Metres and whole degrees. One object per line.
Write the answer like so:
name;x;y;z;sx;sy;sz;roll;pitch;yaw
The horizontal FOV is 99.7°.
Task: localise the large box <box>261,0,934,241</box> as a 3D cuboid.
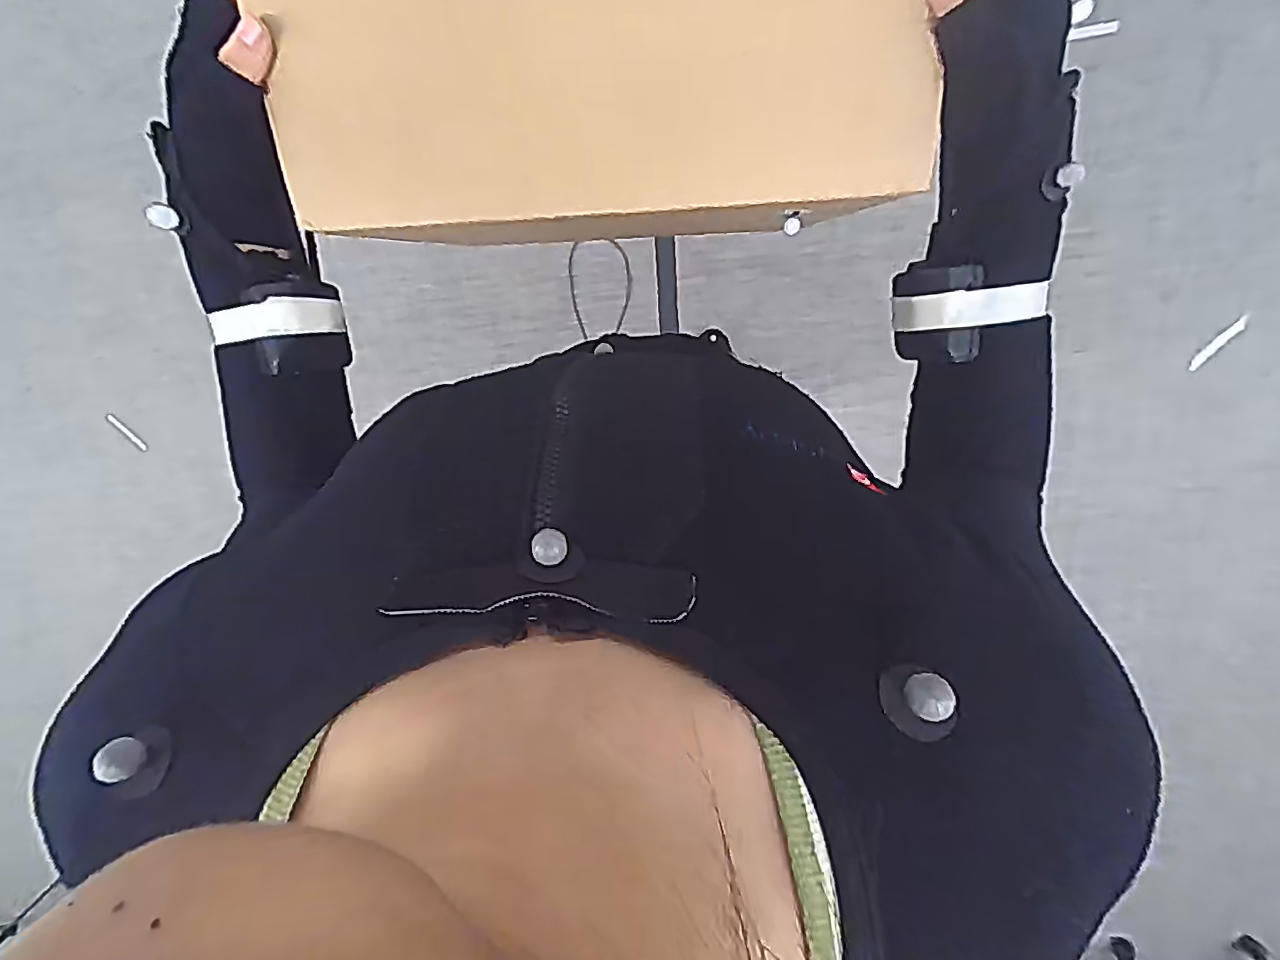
large box;-0.022;-0.377;0.440;0.408;0.320;0.320;-2;111;4
